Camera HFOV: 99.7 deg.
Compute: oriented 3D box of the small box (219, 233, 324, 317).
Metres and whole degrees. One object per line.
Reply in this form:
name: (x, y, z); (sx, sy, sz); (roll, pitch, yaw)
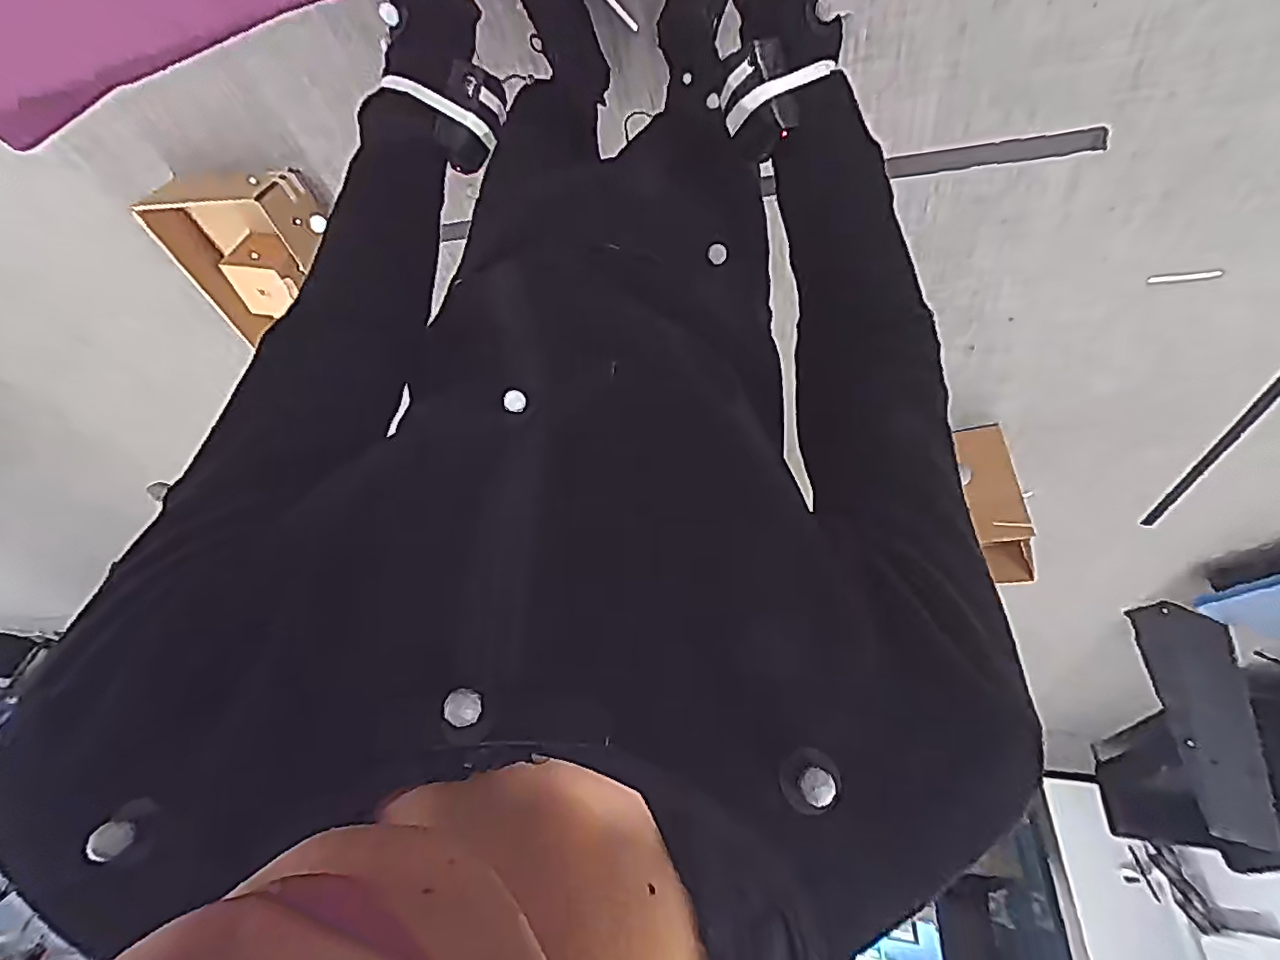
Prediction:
small box: (-1.068, -0.606, 1.592); (0.179, 0.176, 0.168); (7, 145, 3)
